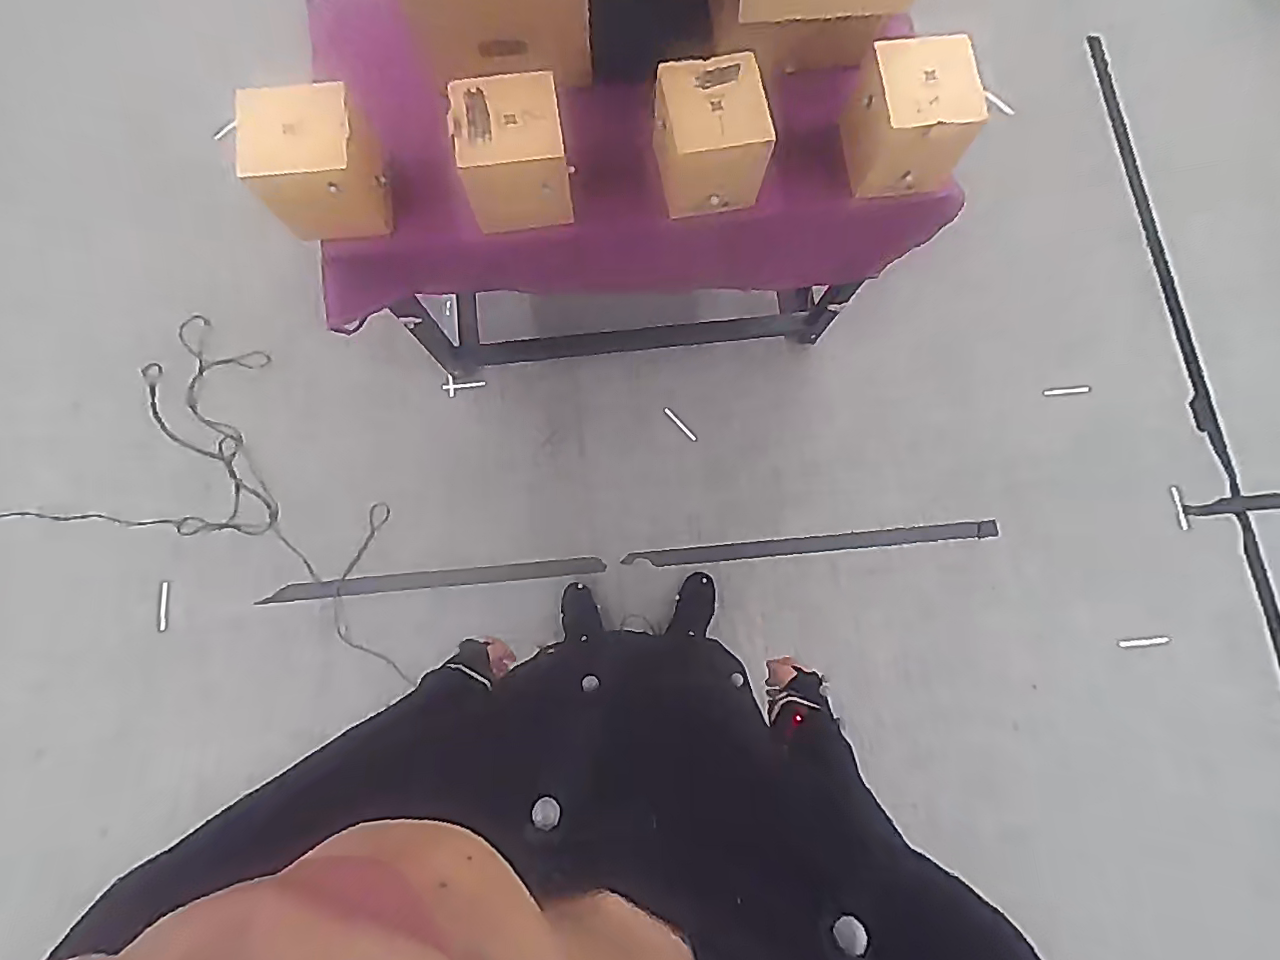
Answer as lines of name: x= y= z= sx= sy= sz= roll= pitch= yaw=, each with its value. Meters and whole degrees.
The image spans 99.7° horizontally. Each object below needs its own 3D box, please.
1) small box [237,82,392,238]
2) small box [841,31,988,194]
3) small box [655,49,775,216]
small box: x=-0.557 y=-0.546 z=0.943 sx=0.179 sy=0.176 sz=0.168 roll=-7 pitch=80 yaw=-3
small box: x=0.480 y=-0.653 z=0.975 sx=0.168 sy=0.176 sz=0.179 roll=-6 pitch=80 yaw=-1
small box: x=0.123 y=-0.610 z=0.964 sx=0.168 sy=0.176 sz=0.179 roll=-10 pitch=81 yaw=-2
